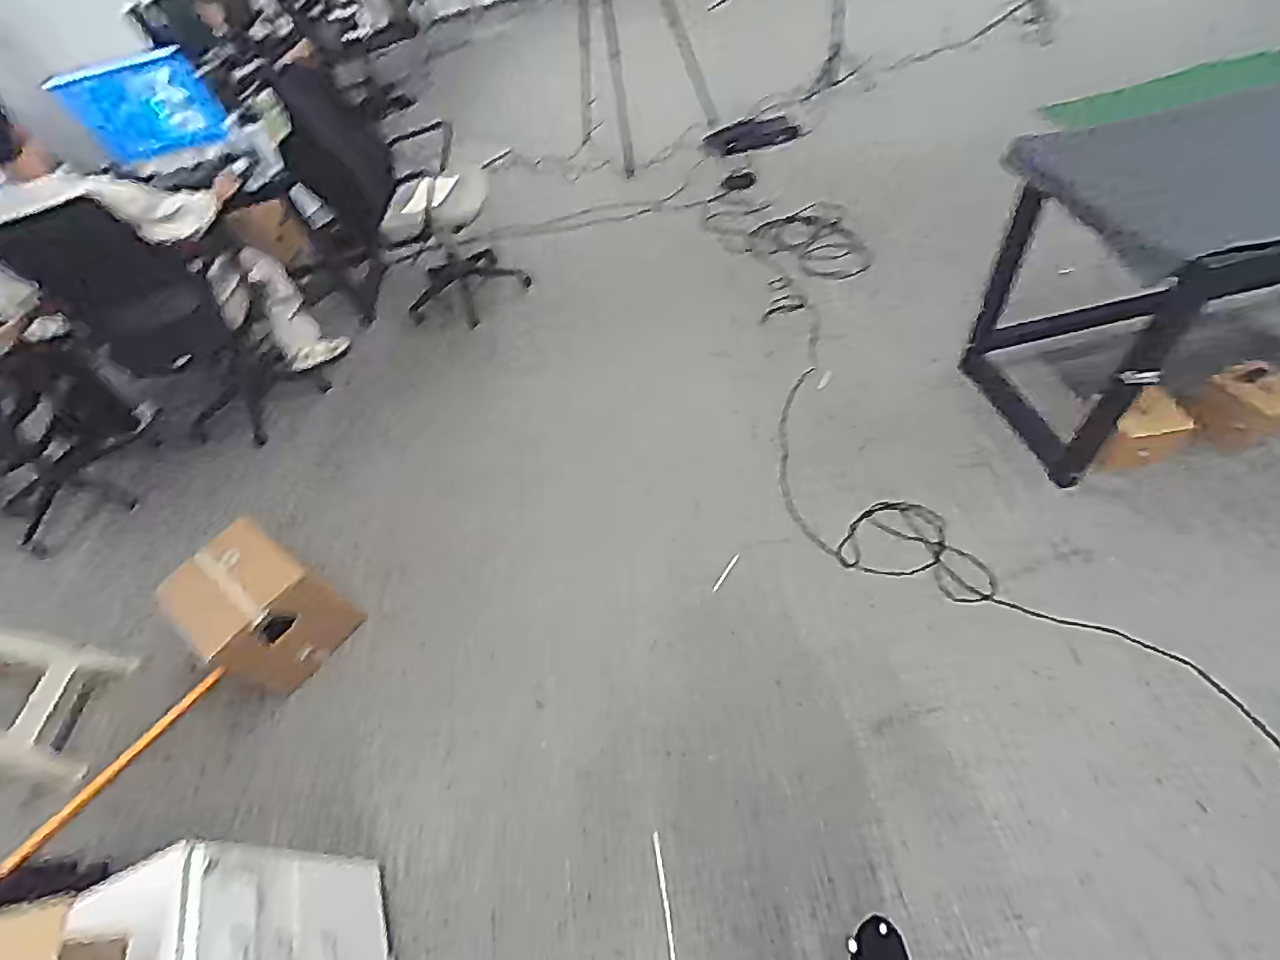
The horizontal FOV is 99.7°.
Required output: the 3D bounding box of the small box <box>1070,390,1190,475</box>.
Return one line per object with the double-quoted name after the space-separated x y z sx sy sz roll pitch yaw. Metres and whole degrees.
1.413 -0.129 1.574 0.168 0.176 0.179 -10 50 6 "small box"
